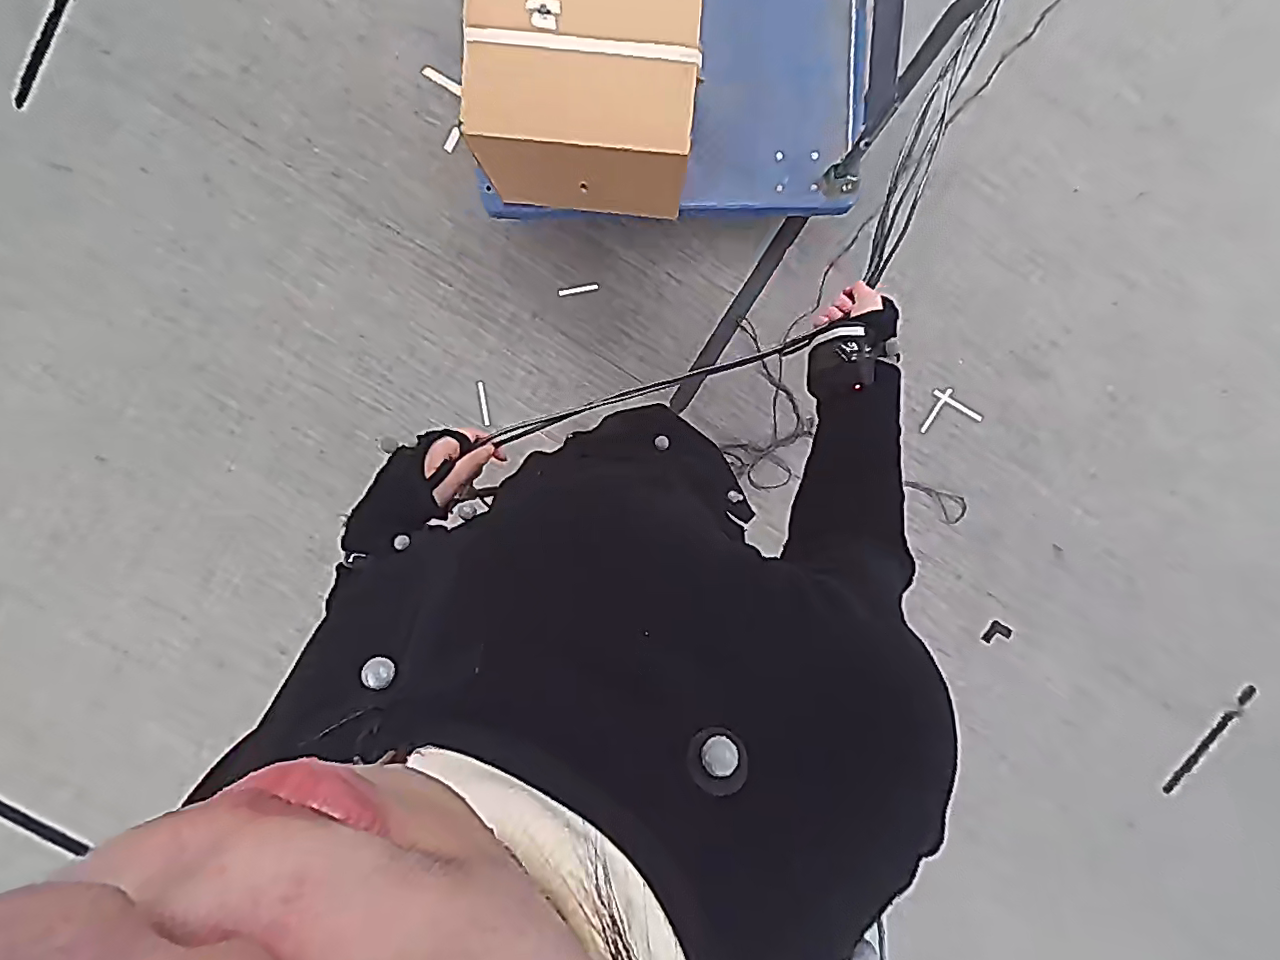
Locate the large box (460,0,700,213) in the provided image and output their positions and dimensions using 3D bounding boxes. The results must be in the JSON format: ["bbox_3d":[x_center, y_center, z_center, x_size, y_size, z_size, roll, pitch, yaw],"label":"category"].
[{"bbox_3d":[-0.101,-0.749,1.065,0.408,0.320,0.320,5,96,0],"label":"large box"}]
